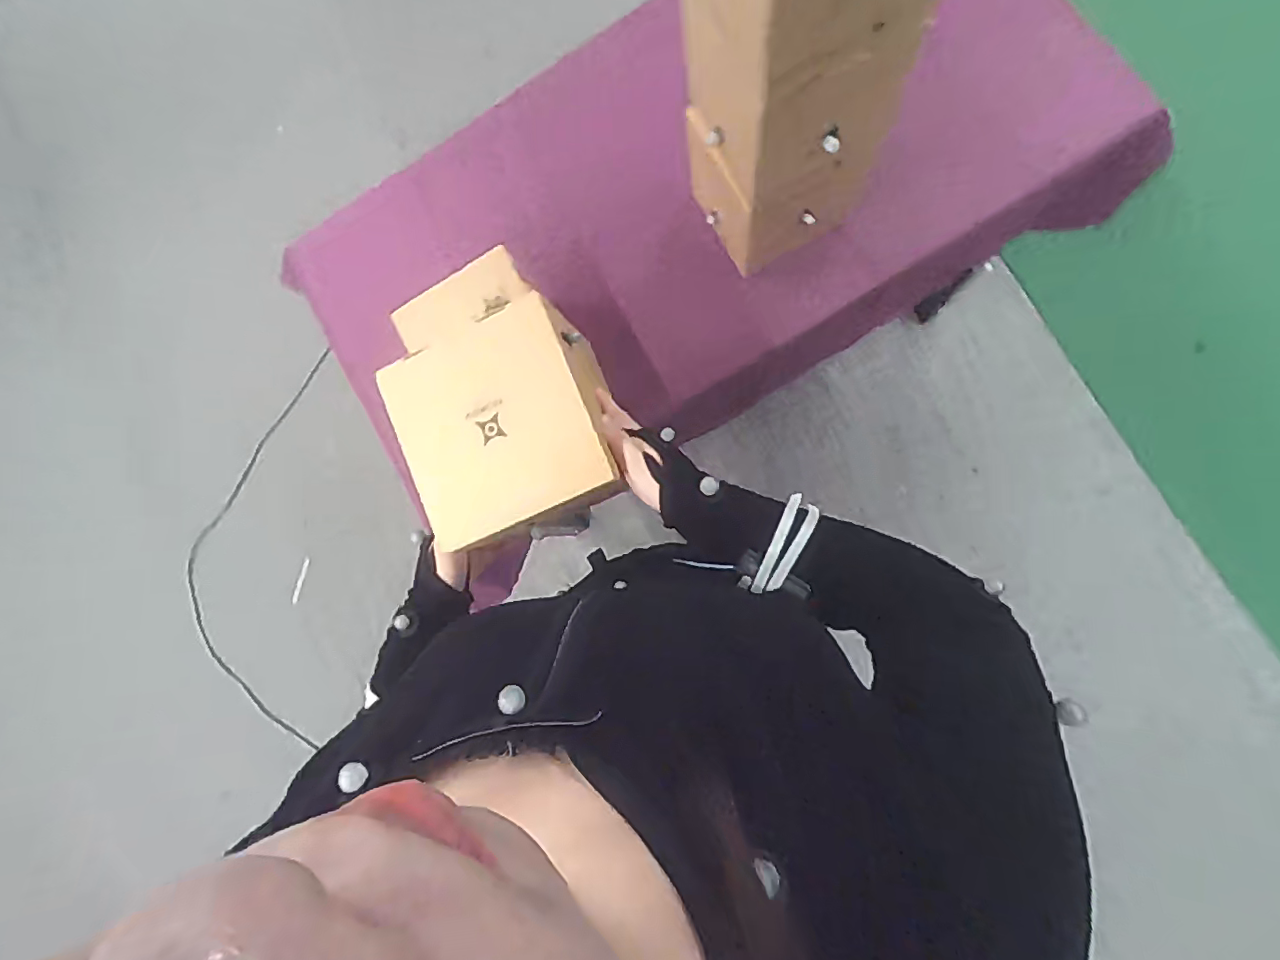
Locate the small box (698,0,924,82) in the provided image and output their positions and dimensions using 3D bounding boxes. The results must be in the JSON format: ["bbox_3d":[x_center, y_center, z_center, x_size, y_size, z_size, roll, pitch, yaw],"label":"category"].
[{"bbox_3d":[0.128,-0.449,0.404,0.168,0.176,0.179,-27,81,5],"label":"small box"}]

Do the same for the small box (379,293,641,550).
[{"bbox_3d":[-0.112,-0.047,0.538,0.168,0.176,0.179,-24,84,9],"label":"small box"}]

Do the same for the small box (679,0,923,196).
[{"bbox_3d":[0.153,-0.436,0.567,0.168,0.176,0.179,-25,82,5],"label":"small box"}]

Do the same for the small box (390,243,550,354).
[{"bbox_3d":[-0.201,-0.185,0.760,0.179,0.176,0.168,-30,81,5],"label":"small box"}]
